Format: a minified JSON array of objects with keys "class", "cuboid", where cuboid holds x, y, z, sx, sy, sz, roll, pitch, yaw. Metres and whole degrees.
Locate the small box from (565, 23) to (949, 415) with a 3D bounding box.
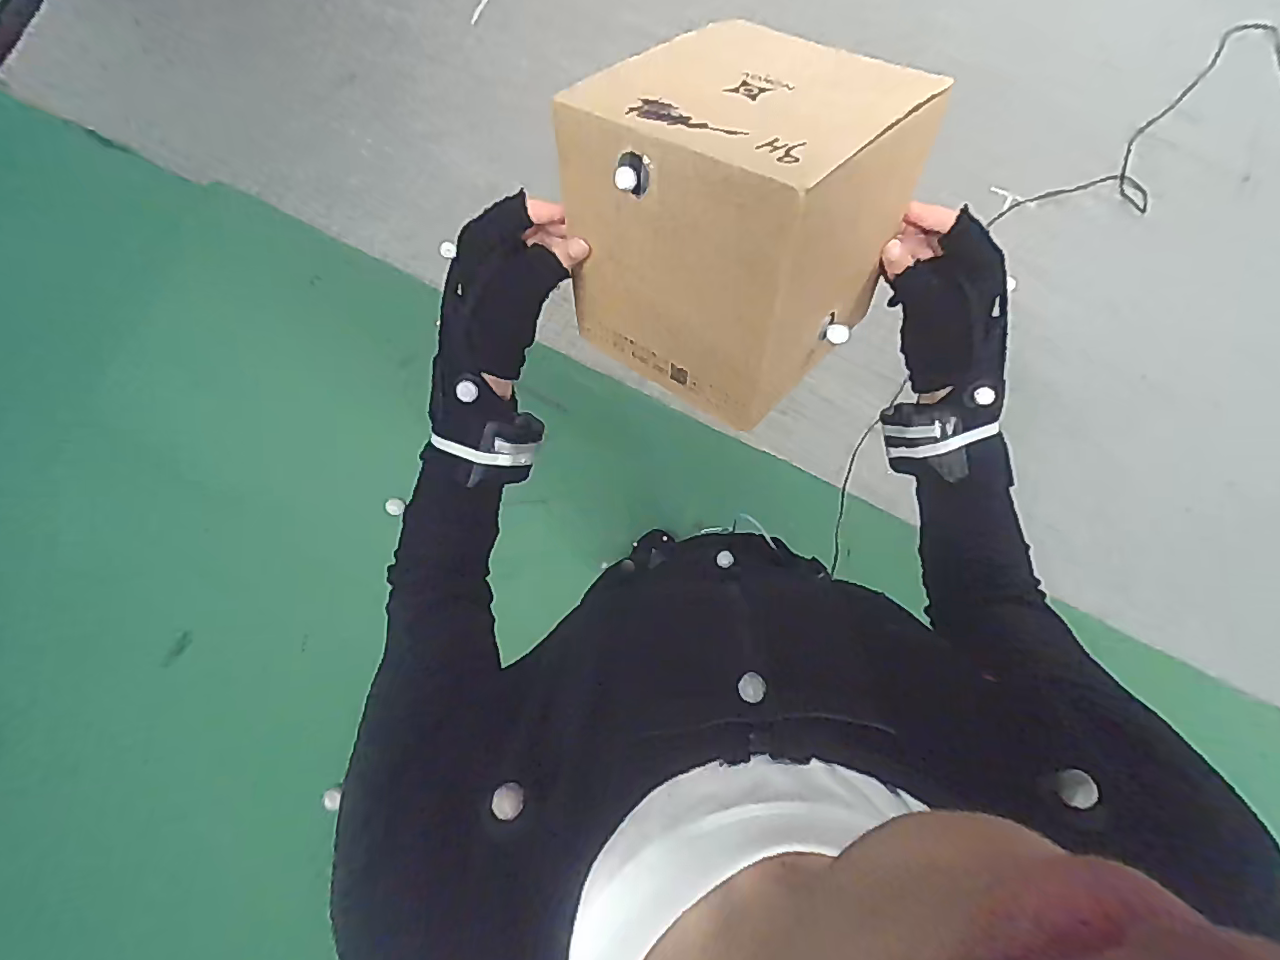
[{"class":"small box","cuboid":[0.069,-0.182,0.380,0.168,0.176,0.179,35,61,23]}]
